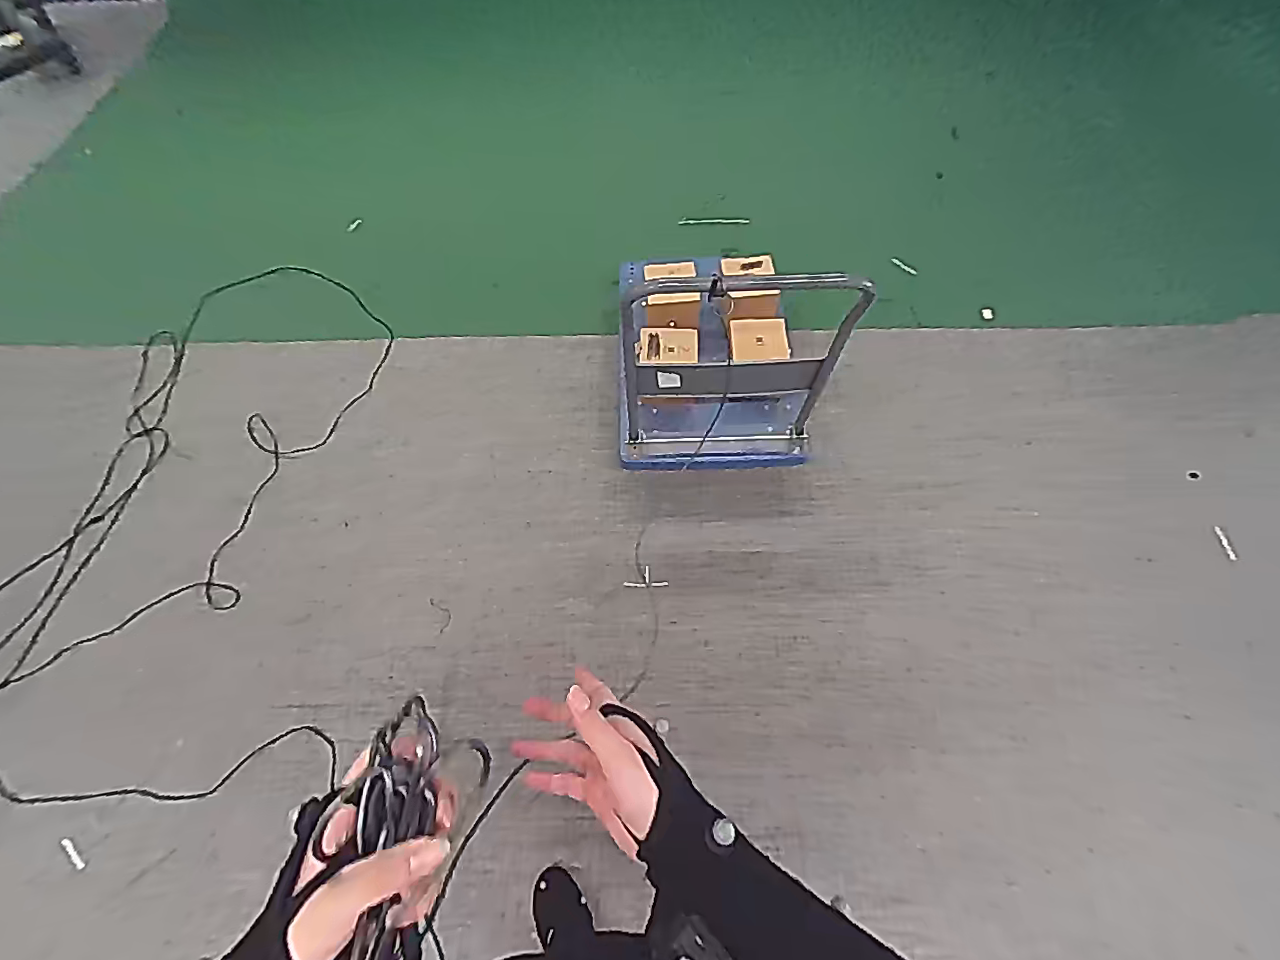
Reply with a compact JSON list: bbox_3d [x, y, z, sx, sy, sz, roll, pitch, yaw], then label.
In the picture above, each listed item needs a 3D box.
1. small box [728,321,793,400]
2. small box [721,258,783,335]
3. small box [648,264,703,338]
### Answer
[{"bbox_3d":[0.366,-0.368,1.673,0.168,0.176,0.179,0,63,2],"label":"small box"},{"bbox_3d":[0.365,-0.607,1.799,0.168,0.176,0.179,-5,63,0],"label":"small box"},{"bbox_3d":[0.114,-0.587,1.797,0.168,0.176,0.179,-4,62,-1],"label":"small box"}]
